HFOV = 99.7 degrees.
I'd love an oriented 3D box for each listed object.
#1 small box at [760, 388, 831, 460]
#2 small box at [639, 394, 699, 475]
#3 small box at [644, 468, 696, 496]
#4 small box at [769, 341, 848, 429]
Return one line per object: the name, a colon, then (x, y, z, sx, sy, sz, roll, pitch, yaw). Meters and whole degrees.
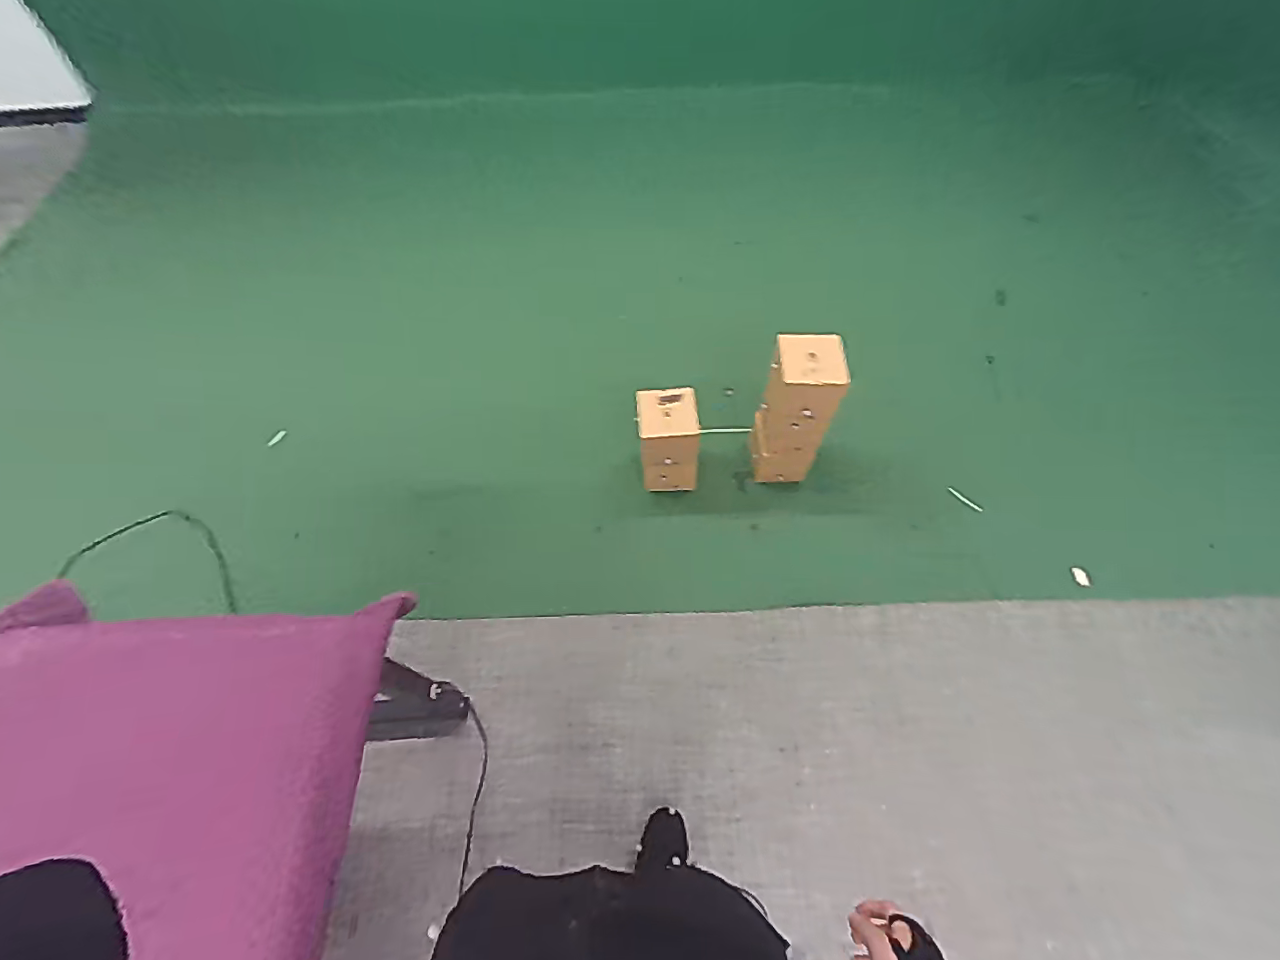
small box: (0.466, -0.182, 1.646, 0.168, 0.176, 0.179, 1, 58, 2)
small box: (0.084, -0.136, 1.634, 0.168, 0.176, 0.179, -4, 59, 0)
small box: (0.098, -0.056, 1.778, 0.168, 0.176, 0.179, -2, 58, 2)
small box: (0.459, -0.264, 1.503, 0.168, 0.176, 0.179, 1, 60, 3)
